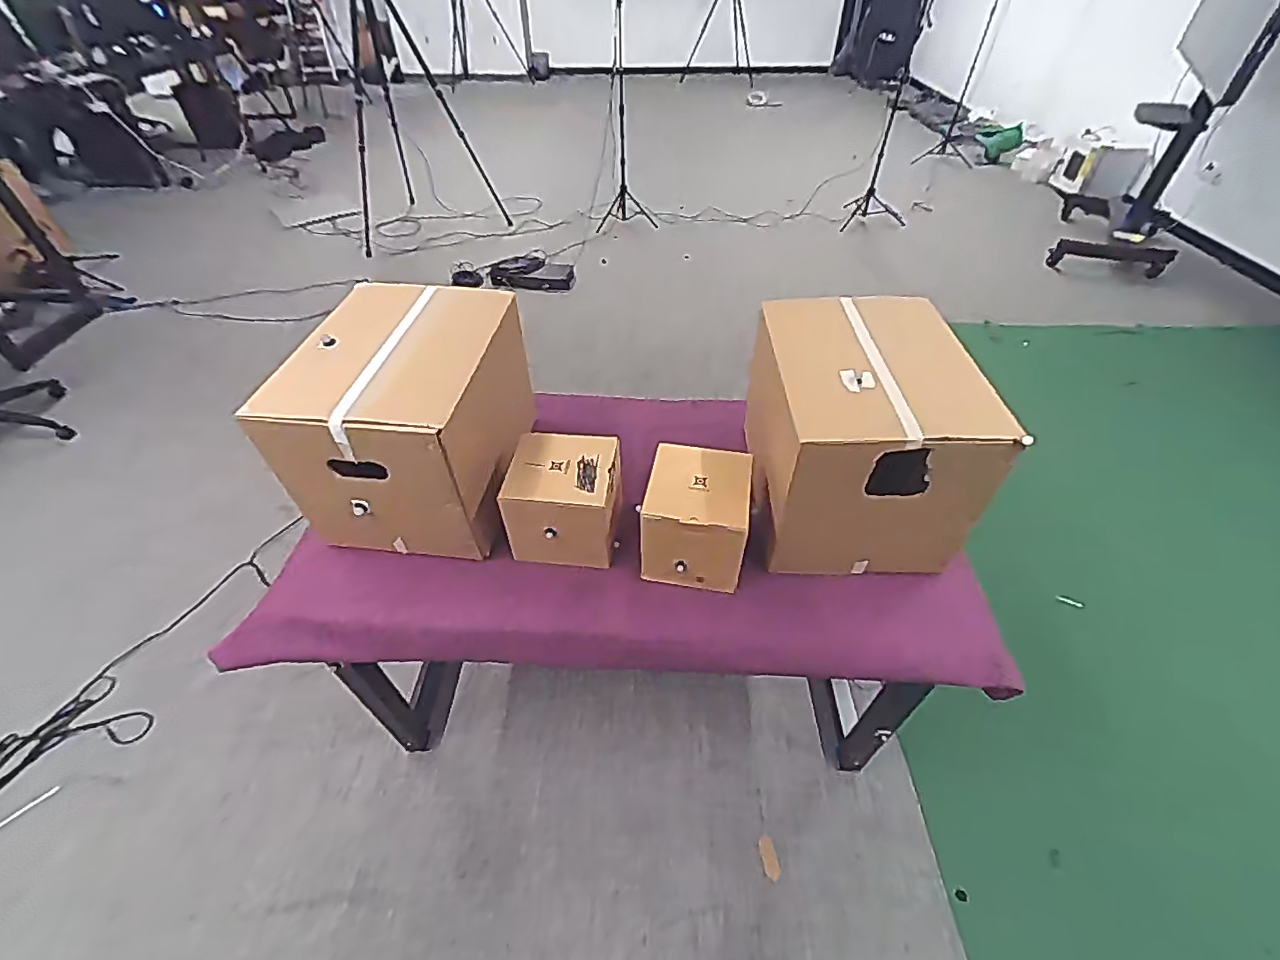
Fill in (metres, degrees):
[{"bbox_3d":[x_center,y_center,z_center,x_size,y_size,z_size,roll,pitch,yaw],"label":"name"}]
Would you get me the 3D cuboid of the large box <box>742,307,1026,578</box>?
[{"bbox_3d":[0.378,-0.075,0.980,0.320,0.320,0.408,-1,46,2],"label":"large box"}]
